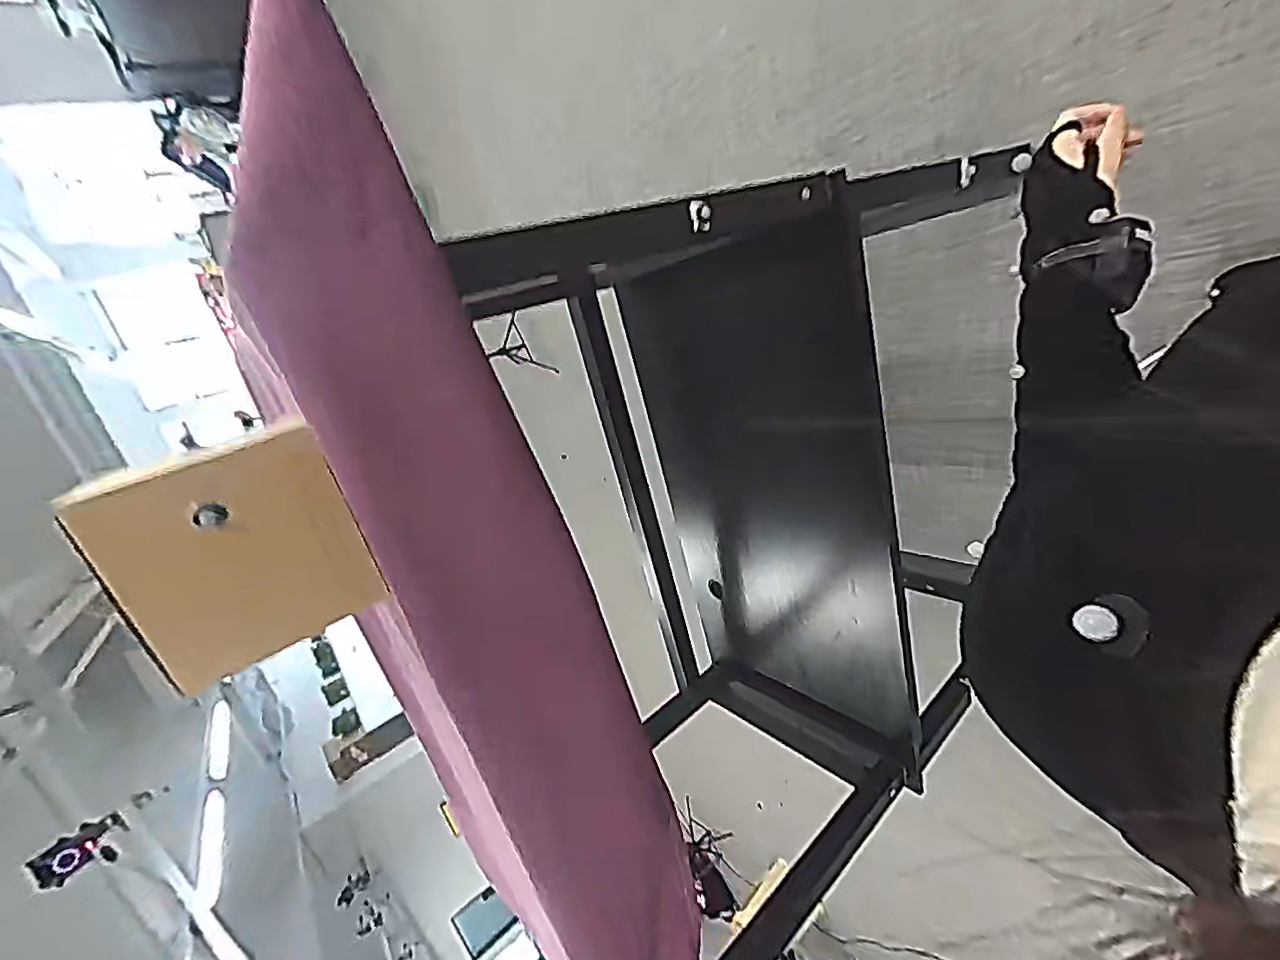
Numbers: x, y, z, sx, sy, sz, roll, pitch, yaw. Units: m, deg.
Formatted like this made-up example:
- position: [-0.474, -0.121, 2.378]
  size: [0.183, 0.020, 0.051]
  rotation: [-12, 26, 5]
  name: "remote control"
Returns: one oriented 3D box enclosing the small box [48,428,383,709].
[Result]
- position: [-0.370, 0.062, 0.502]
  size: [0.168, 0.176, 0.179]
  rotation: [14, 126, 53]
  name: "small box"
